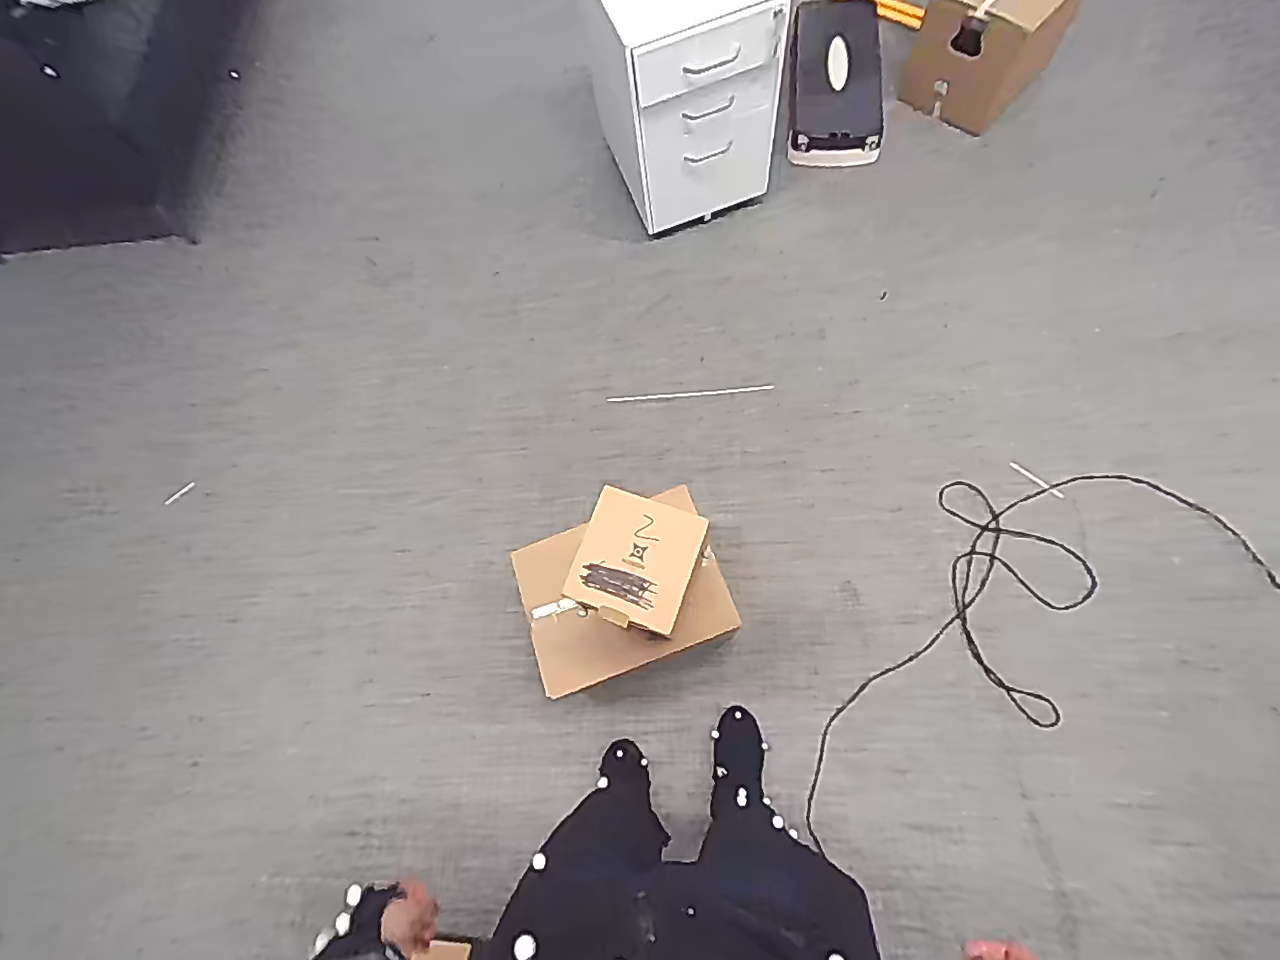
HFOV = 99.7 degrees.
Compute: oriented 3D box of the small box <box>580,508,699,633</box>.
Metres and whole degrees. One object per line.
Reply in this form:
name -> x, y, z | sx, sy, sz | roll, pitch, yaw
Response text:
small box -> 0.010, 0.176, 1.011 | 0.168, 0.176, 0.179 | 18, 76, 12
